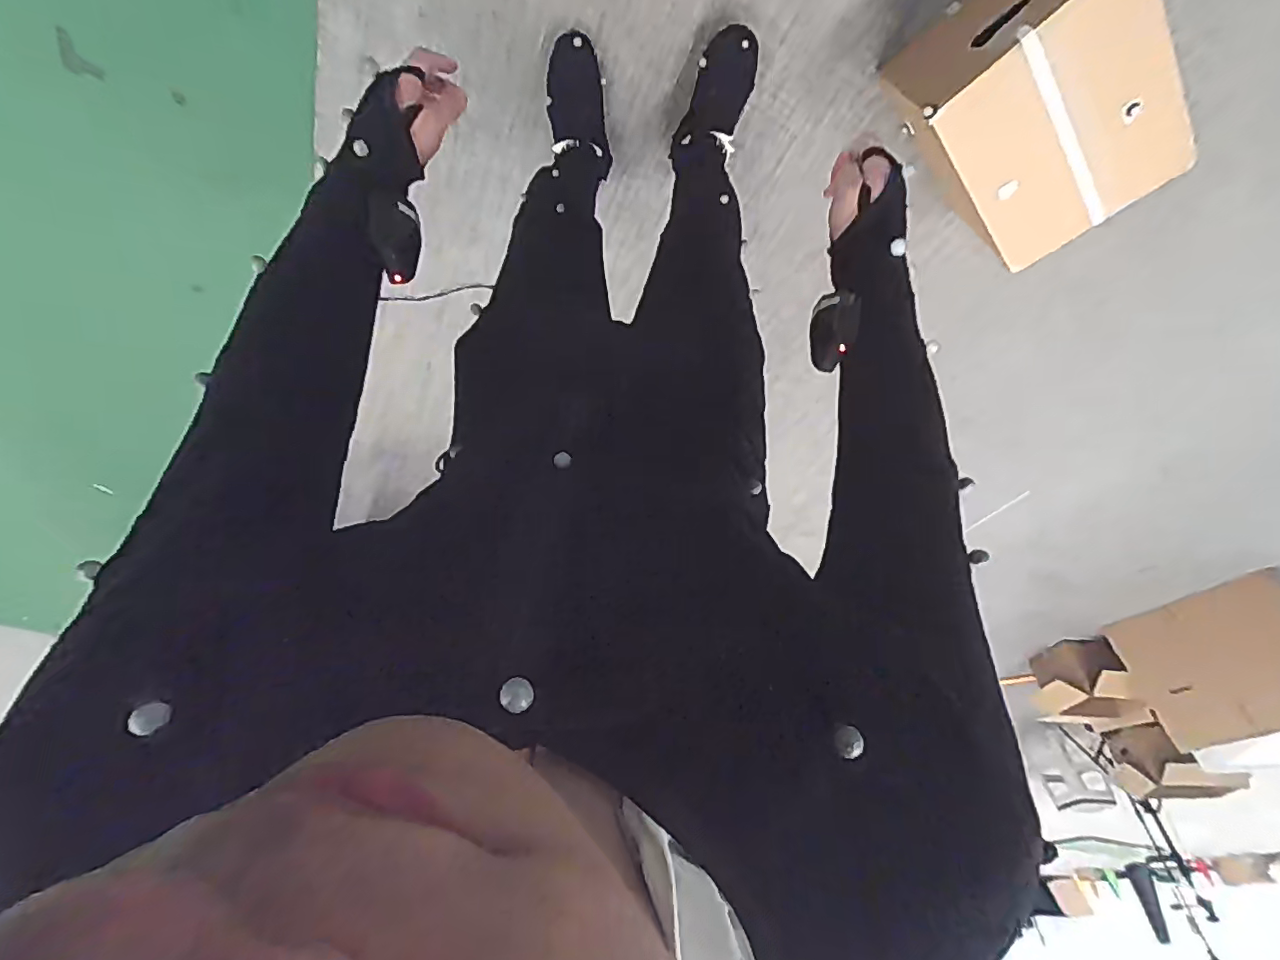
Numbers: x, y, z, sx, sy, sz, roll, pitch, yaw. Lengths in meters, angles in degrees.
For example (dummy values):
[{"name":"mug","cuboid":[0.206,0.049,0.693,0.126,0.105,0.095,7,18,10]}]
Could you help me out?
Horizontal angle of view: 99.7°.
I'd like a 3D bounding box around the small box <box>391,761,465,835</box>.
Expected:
[{"name":"small box","cuboid":[-0.656,0.988,1.682,0.168,0.176,0.179,18,135,-17]}]
